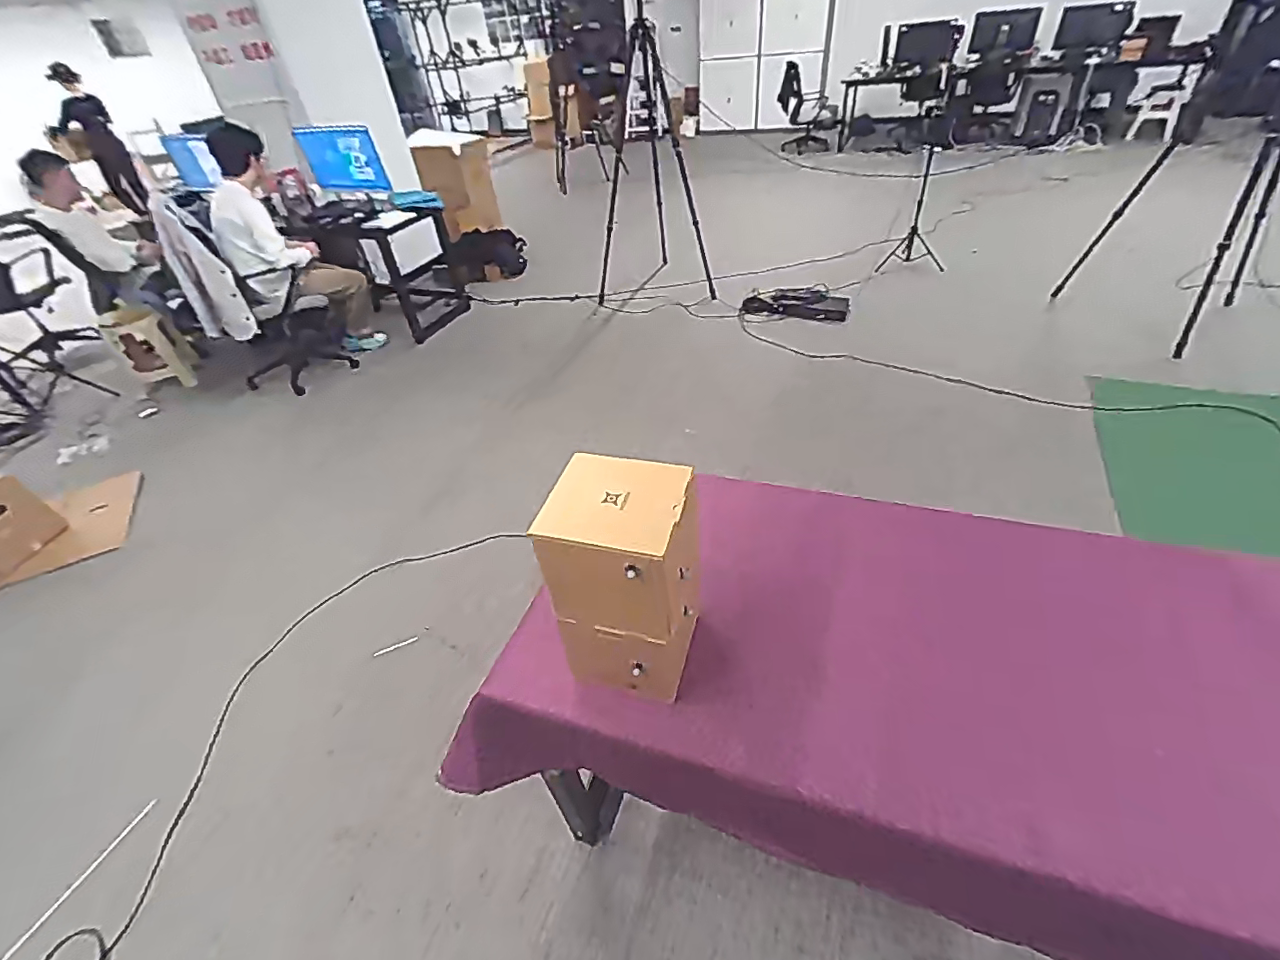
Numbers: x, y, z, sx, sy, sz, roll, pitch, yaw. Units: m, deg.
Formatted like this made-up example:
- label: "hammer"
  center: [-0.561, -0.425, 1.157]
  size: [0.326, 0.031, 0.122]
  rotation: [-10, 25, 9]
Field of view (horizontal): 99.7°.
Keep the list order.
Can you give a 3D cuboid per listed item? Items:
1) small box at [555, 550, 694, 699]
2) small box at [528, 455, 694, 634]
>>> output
- label: "small box"
  center: [-0.011, 0.212, 0.847]
  size: [0.168, 0.176, 0.179]
  rotation: [9, 42, 16]
- label: "small box"
  center: [-0.028, 0.088, 0.743]
  size: [0.179, 0.176, 0.168]
  rotation: [8, 42, 14]
